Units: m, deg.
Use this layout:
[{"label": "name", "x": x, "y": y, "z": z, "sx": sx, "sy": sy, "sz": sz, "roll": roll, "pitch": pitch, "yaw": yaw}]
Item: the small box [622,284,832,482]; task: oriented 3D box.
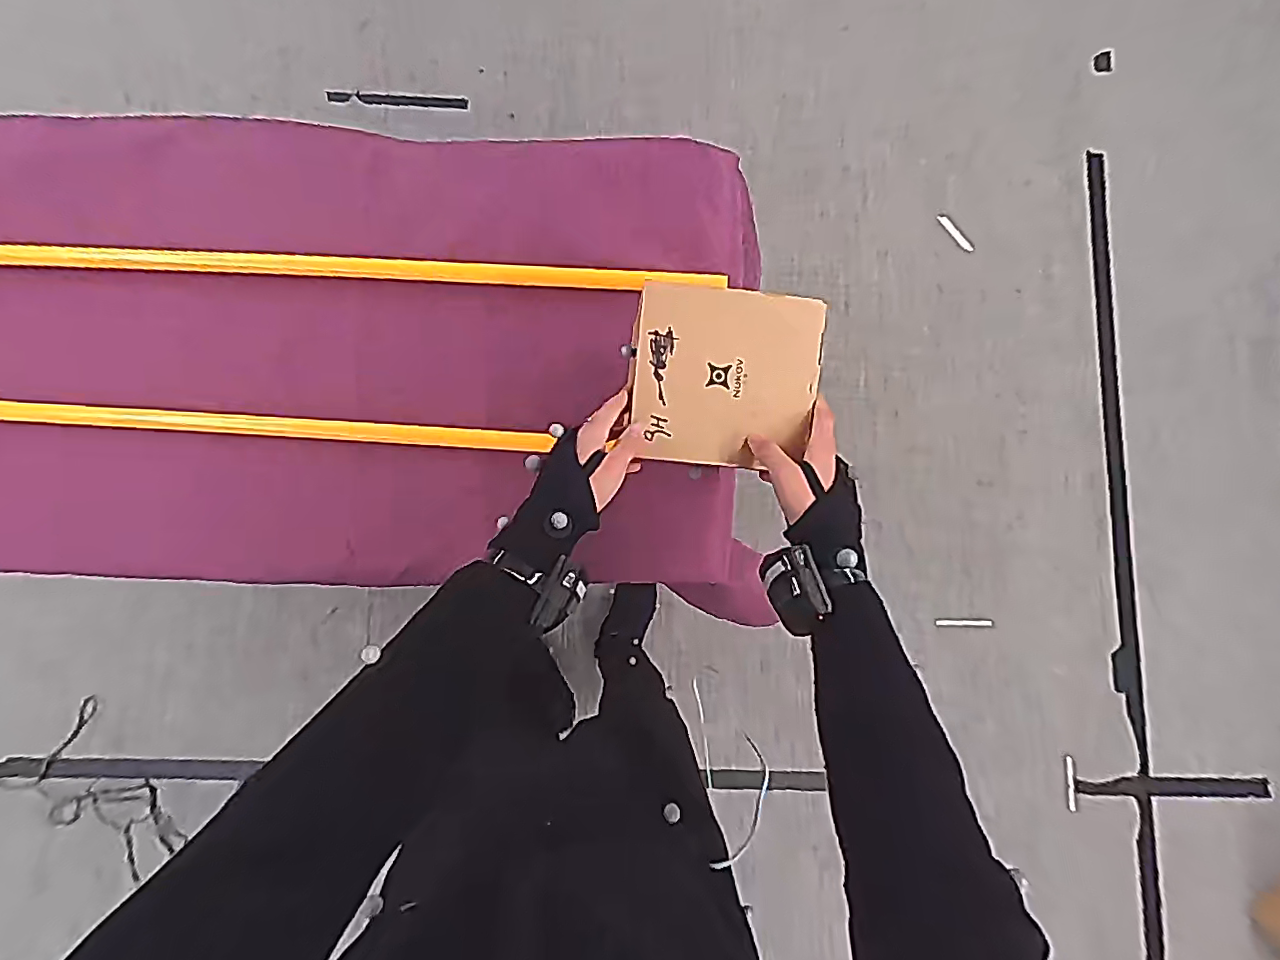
[{"label": "small box", "x": 0.079, "y": -0.093, "z": 0.580, "sx": 0.179, "sy": 0.176, "sz": 0.168, "roll": 6, "pitch": 92, "yaw": -4}]
